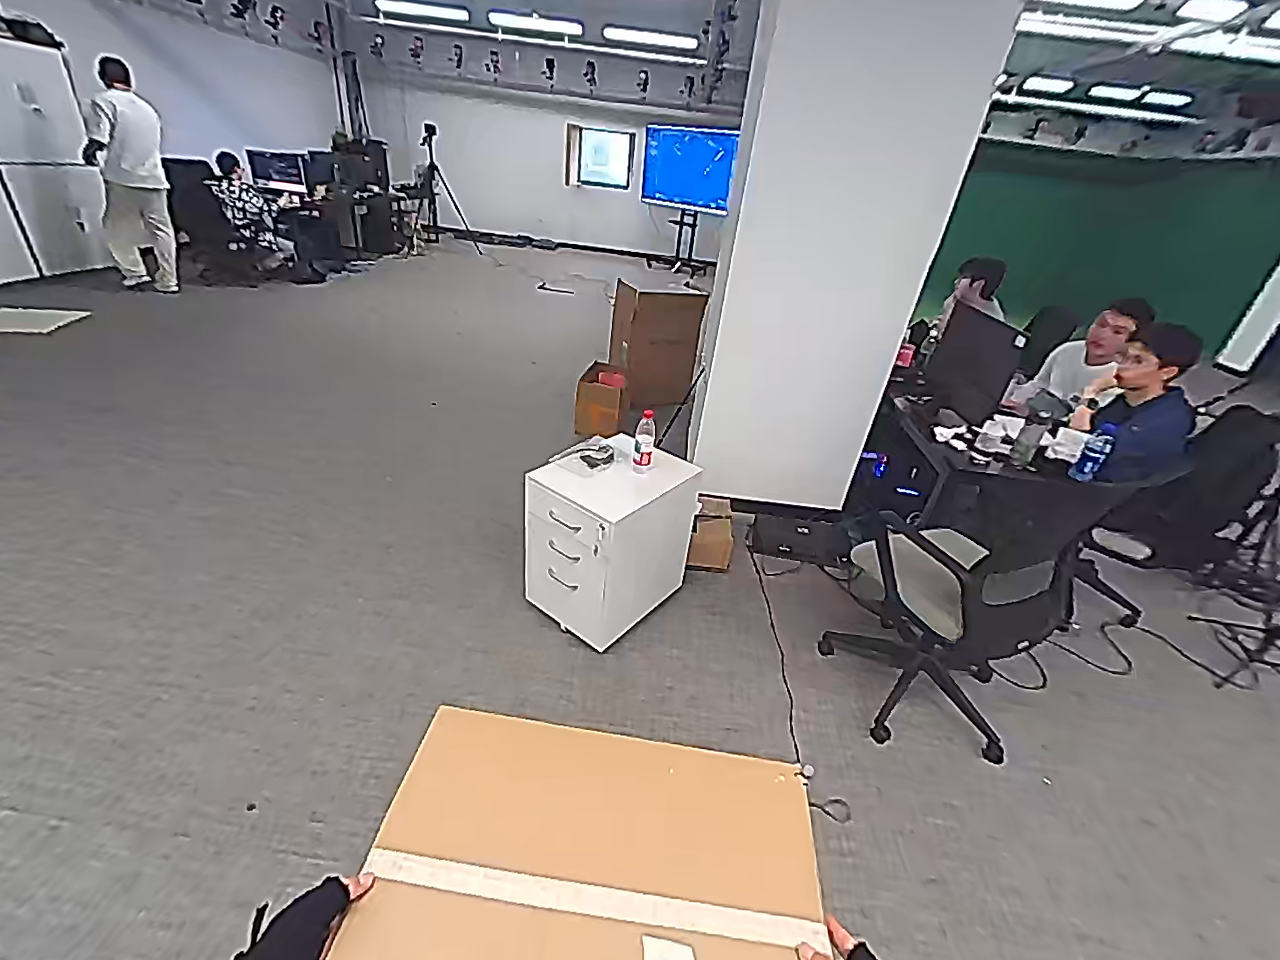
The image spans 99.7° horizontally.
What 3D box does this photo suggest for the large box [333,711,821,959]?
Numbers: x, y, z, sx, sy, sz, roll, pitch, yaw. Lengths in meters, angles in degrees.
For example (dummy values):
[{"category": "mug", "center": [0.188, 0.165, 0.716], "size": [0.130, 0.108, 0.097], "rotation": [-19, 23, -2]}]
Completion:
[{"category": "large box", "center": [-0.059, 0.493, 0.559], "size": [0.408, 0.320, 0.320], "rotation": [9, 33, 2]}]
